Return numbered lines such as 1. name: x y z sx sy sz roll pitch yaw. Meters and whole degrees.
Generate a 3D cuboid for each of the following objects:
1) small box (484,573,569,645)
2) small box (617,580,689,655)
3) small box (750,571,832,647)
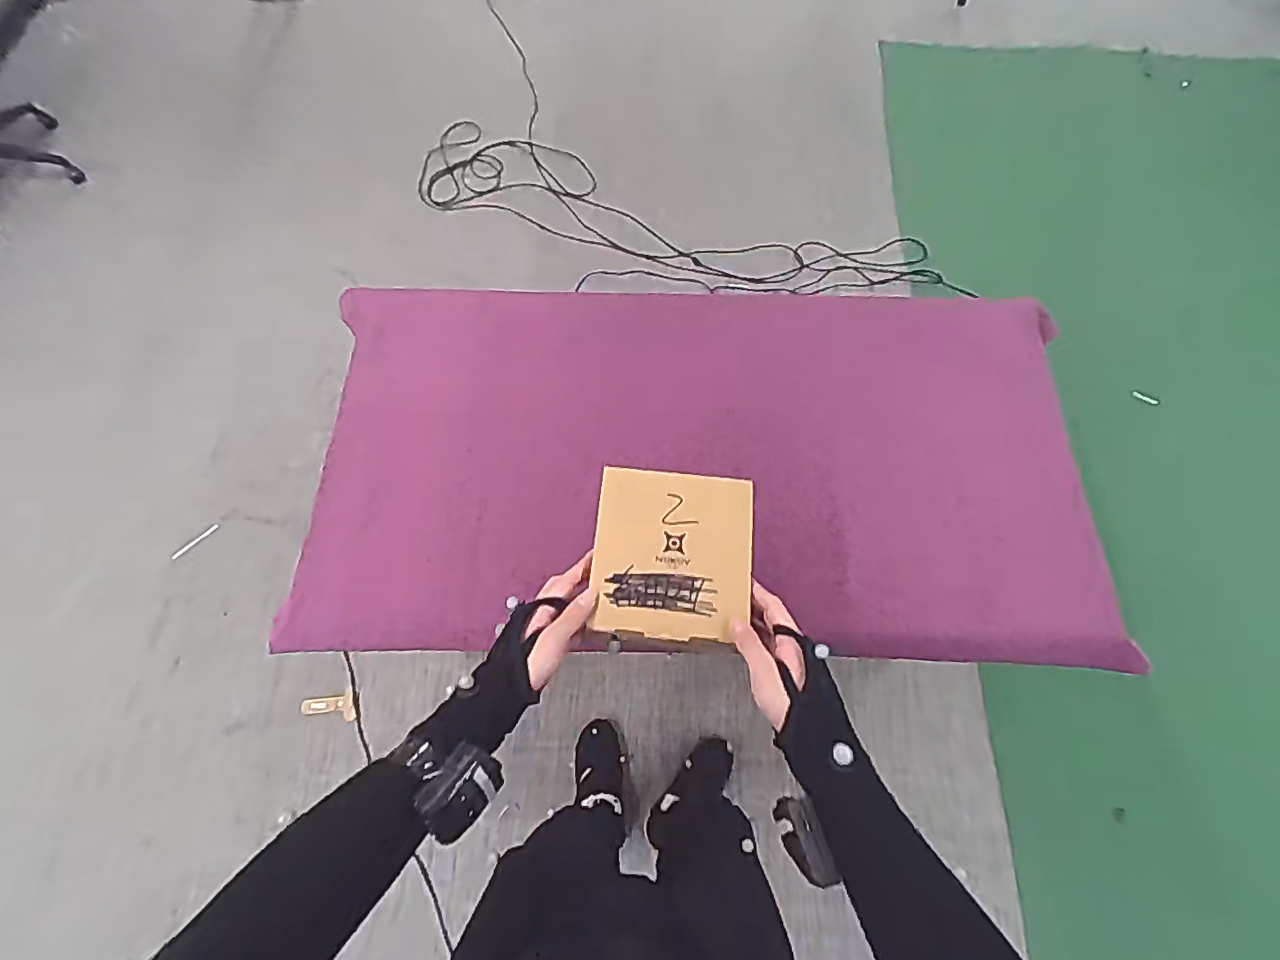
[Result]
1. small box: -0.290 0.342 1.417 0.179 0.176 0.168 1 69 1
2. small box: 0.034 0.362 1.406 0.179 0.176 0.168 2 68 2
3. small box: 0.387 0.341 1.410 0.179 0.176 0.168 4 69 2
